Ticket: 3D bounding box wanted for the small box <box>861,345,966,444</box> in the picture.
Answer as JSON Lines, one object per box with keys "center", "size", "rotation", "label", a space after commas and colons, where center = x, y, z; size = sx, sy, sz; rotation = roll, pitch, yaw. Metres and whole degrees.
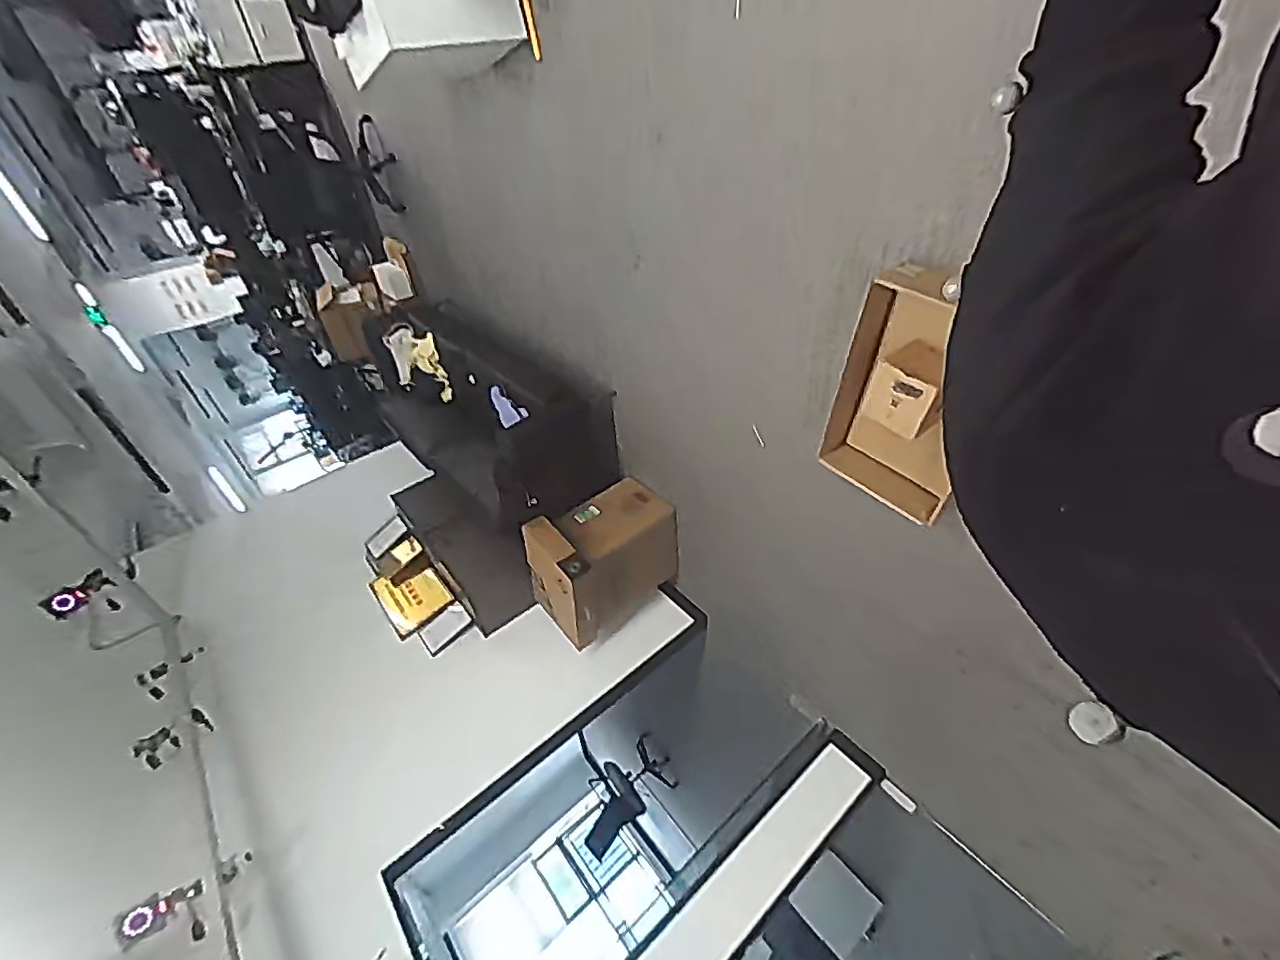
{"center": [0.733, -0.236, 1.450], "size": [0.168, 0.176, 0.179], "rotation": [42, 149, 32], "label": "small box"}
